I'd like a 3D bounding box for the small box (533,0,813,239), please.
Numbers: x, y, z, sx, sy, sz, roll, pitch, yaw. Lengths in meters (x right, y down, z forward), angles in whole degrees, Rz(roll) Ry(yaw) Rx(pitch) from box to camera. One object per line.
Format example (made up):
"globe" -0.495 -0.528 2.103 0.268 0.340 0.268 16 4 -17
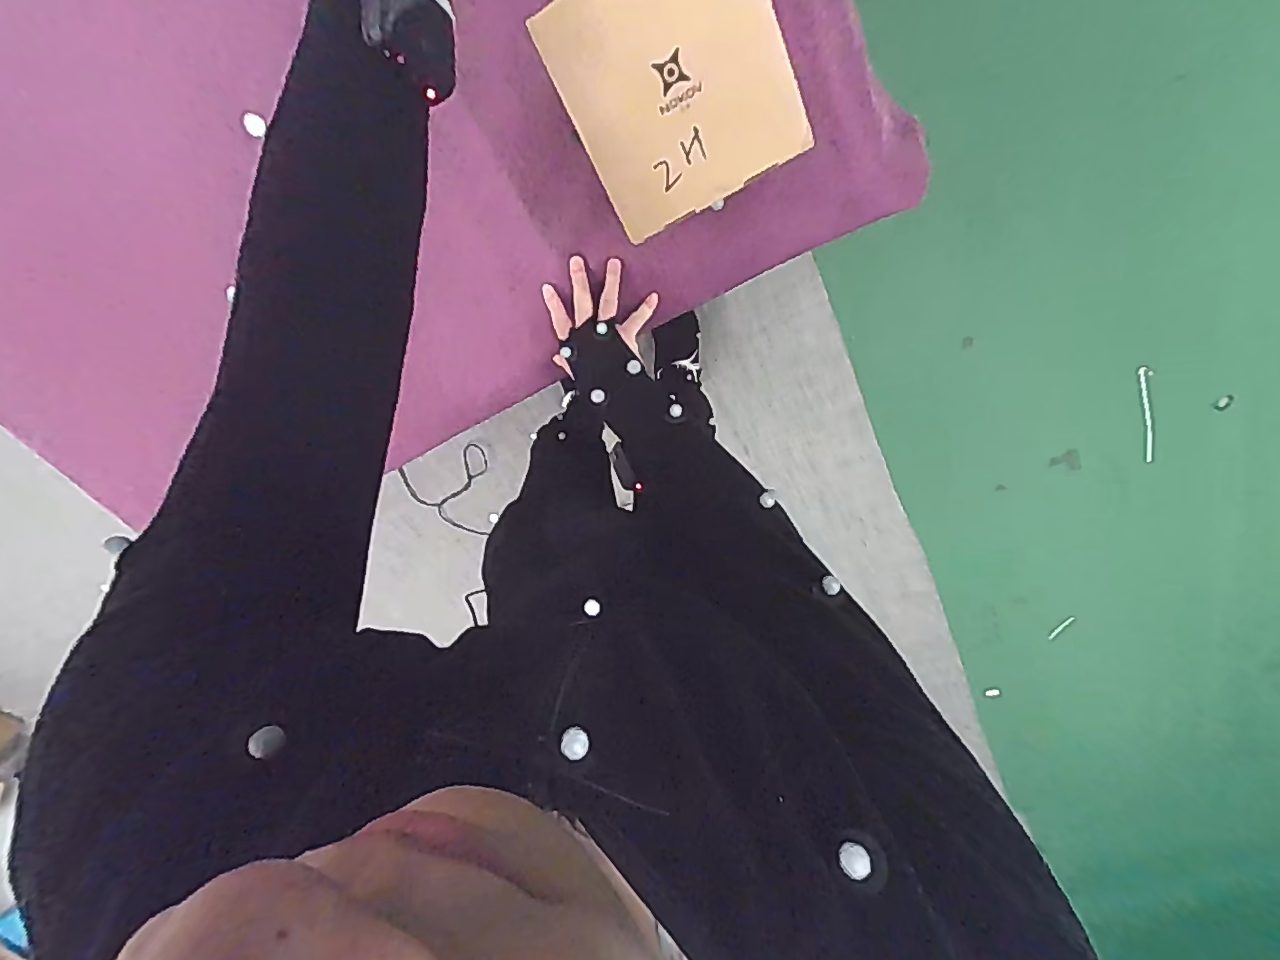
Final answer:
"small box" 0.034 -0.344 0.483 0.168 0.176 0.179 -22 117 17
